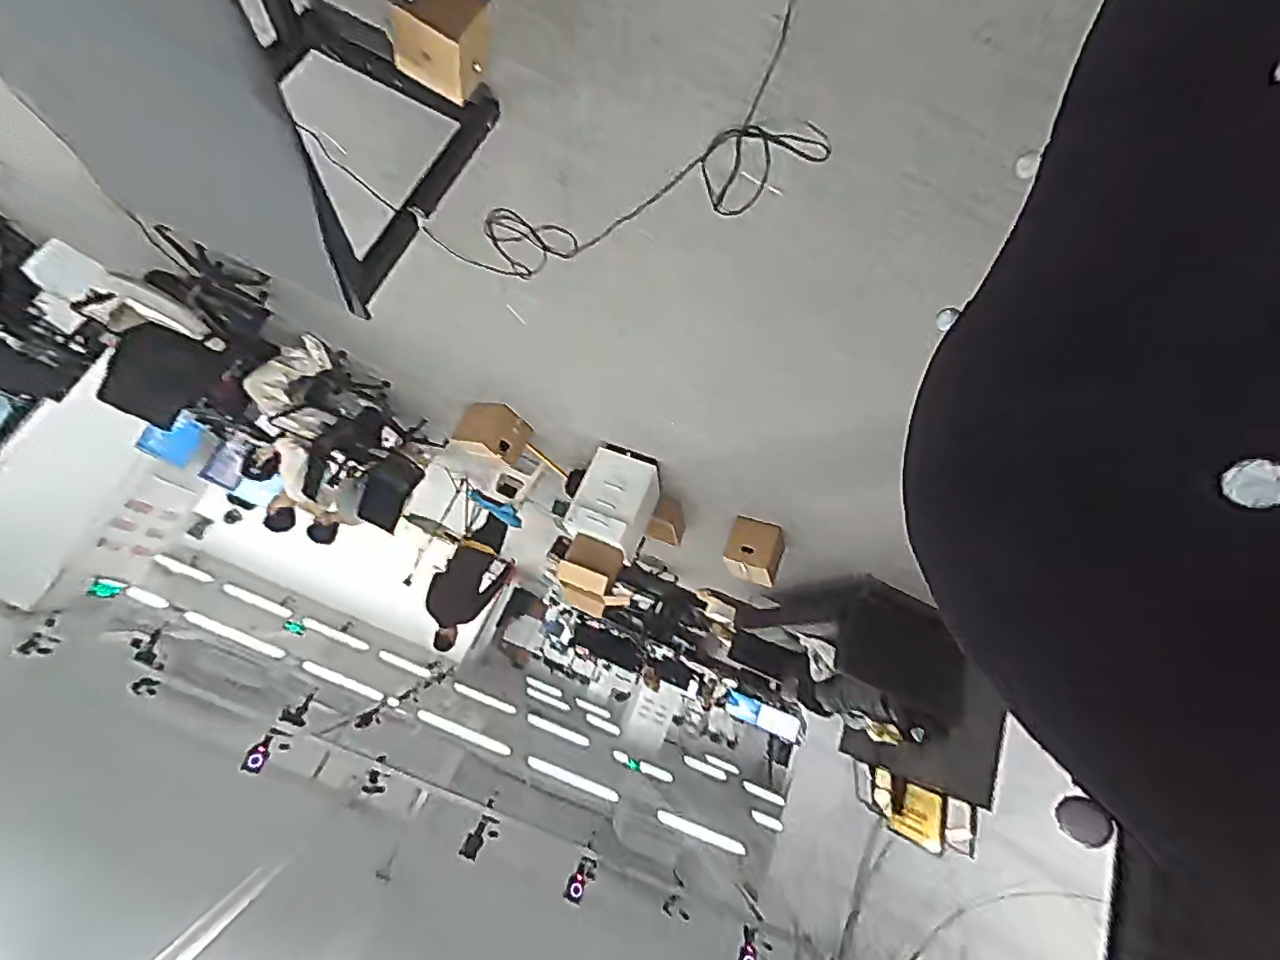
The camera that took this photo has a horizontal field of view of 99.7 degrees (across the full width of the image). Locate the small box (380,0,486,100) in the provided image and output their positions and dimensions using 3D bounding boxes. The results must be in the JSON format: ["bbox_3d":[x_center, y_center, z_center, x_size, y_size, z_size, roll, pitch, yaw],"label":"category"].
[{"bbox_3d":[-0.481,-1.072,1.284,0.179,0.176,0.168,27,162,-9],"label":"small box"}]
